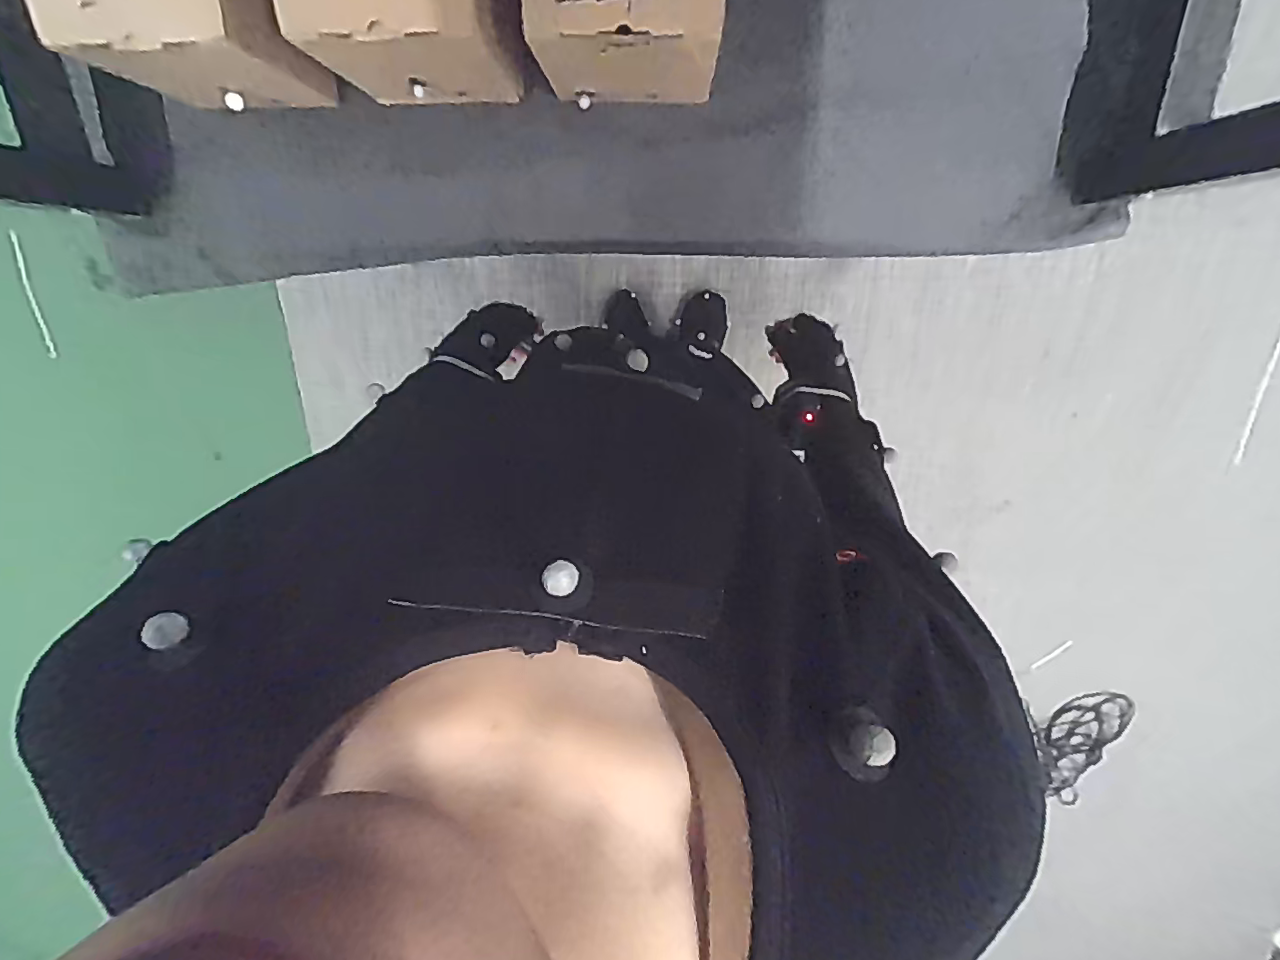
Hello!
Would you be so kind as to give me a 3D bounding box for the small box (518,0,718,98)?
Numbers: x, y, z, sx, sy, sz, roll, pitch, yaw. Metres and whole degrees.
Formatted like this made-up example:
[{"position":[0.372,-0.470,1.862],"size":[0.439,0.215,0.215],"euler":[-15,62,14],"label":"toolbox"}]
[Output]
[{"position":[-0.012,-0.470,0.489],"size":[0.168,0.176,0.179],"euler":[1,108,2],"label":"small box"}]
